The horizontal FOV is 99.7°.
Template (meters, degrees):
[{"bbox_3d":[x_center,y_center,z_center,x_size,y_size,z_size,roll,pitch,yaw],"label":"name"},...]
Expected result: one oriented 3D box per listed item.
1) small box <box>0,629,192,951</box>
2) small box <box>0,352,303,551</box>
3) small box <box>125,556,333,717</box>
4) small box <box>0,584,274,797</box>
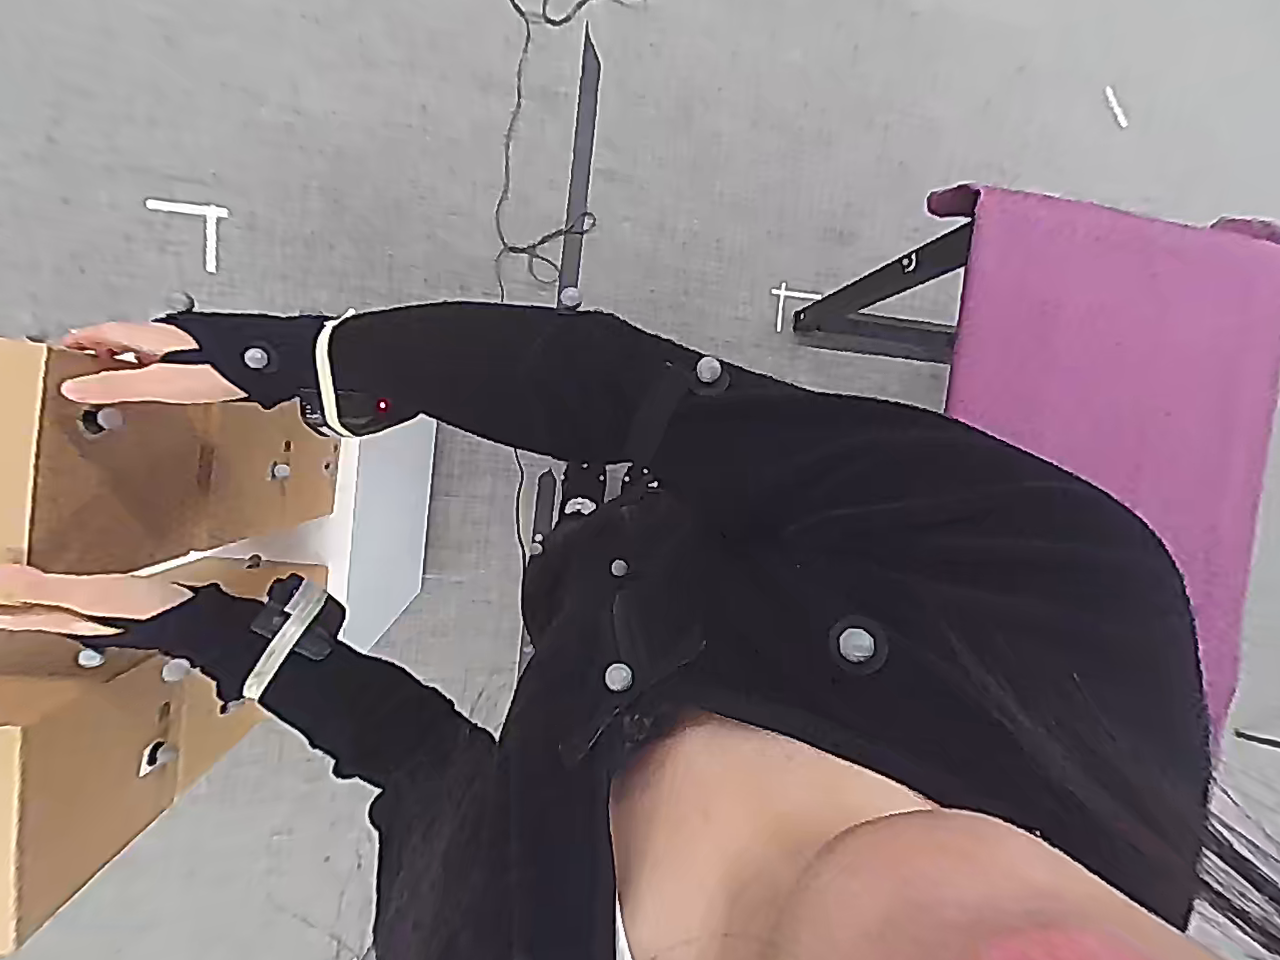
[{"bbox_3d":[-0.512,0.227,0.432,0.179,0.176,0.168,4,94,-10],"label":"small box"},{"bbox_3d":[-0.499,-0.029,0.578,0.179,0.176,0.168,8,93,-10],"label":"small box"},{"bbox_3d":[-0.561,0.206,0.752,0.179,0.176,0.168,6,94,-8],"label":"small box"},{"bbox_3d":[-0.535,0.217,0.592,0.179,0.176,0.168,5,93,-9],"label":"small box"}]
